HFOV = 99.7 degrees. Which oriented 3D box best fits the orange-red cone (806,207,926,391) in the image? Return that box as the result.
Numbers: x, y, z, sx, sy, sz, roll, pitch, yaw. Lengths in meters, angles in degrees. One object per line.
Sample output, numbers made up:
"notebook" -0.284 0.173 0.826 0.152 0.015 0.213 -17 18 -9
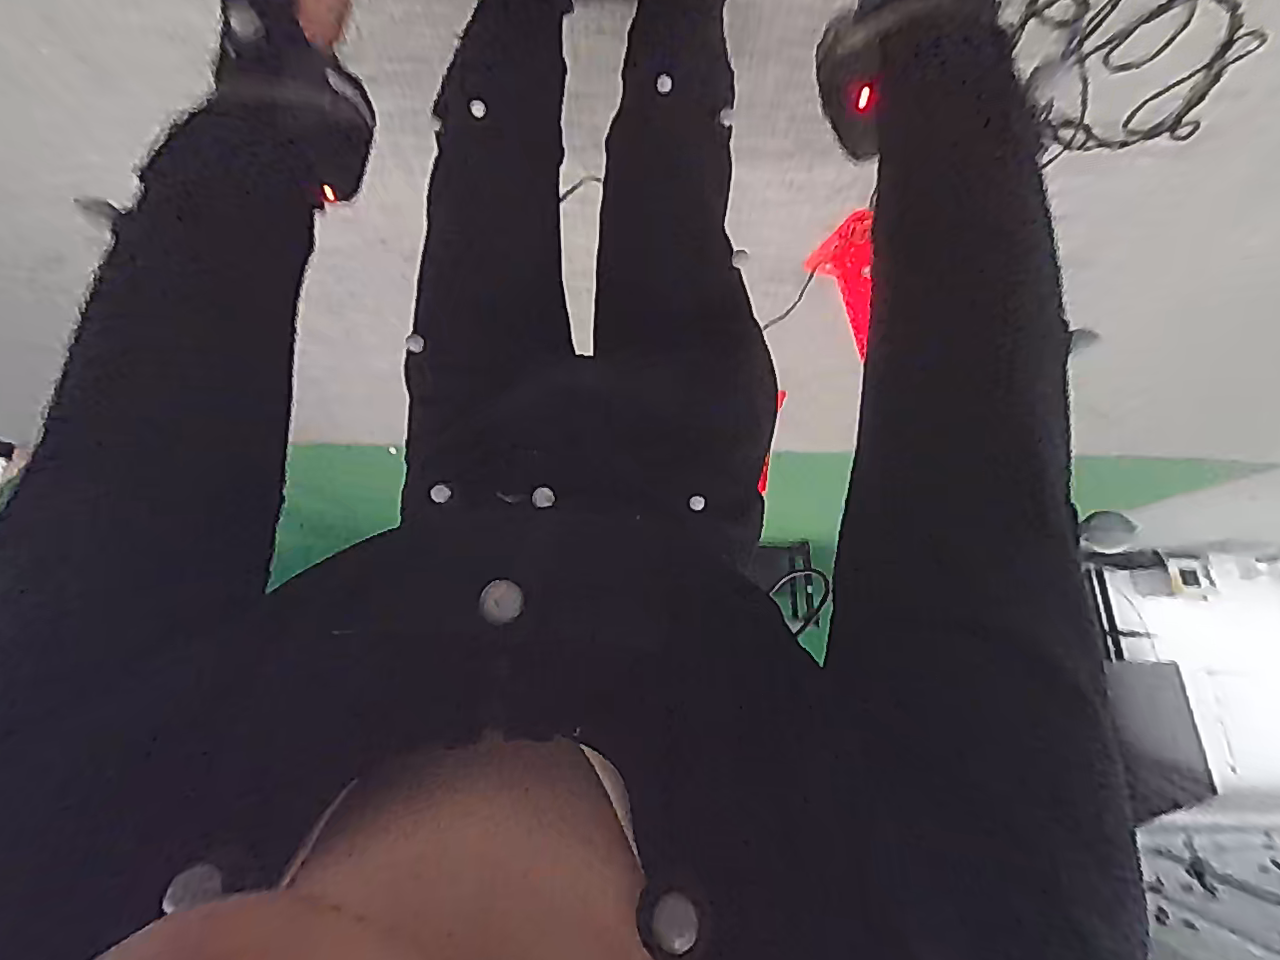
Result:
"orange-red cone" 0.503 -0.363 1.169 0.199 0.360 0.198 5 164 -20
